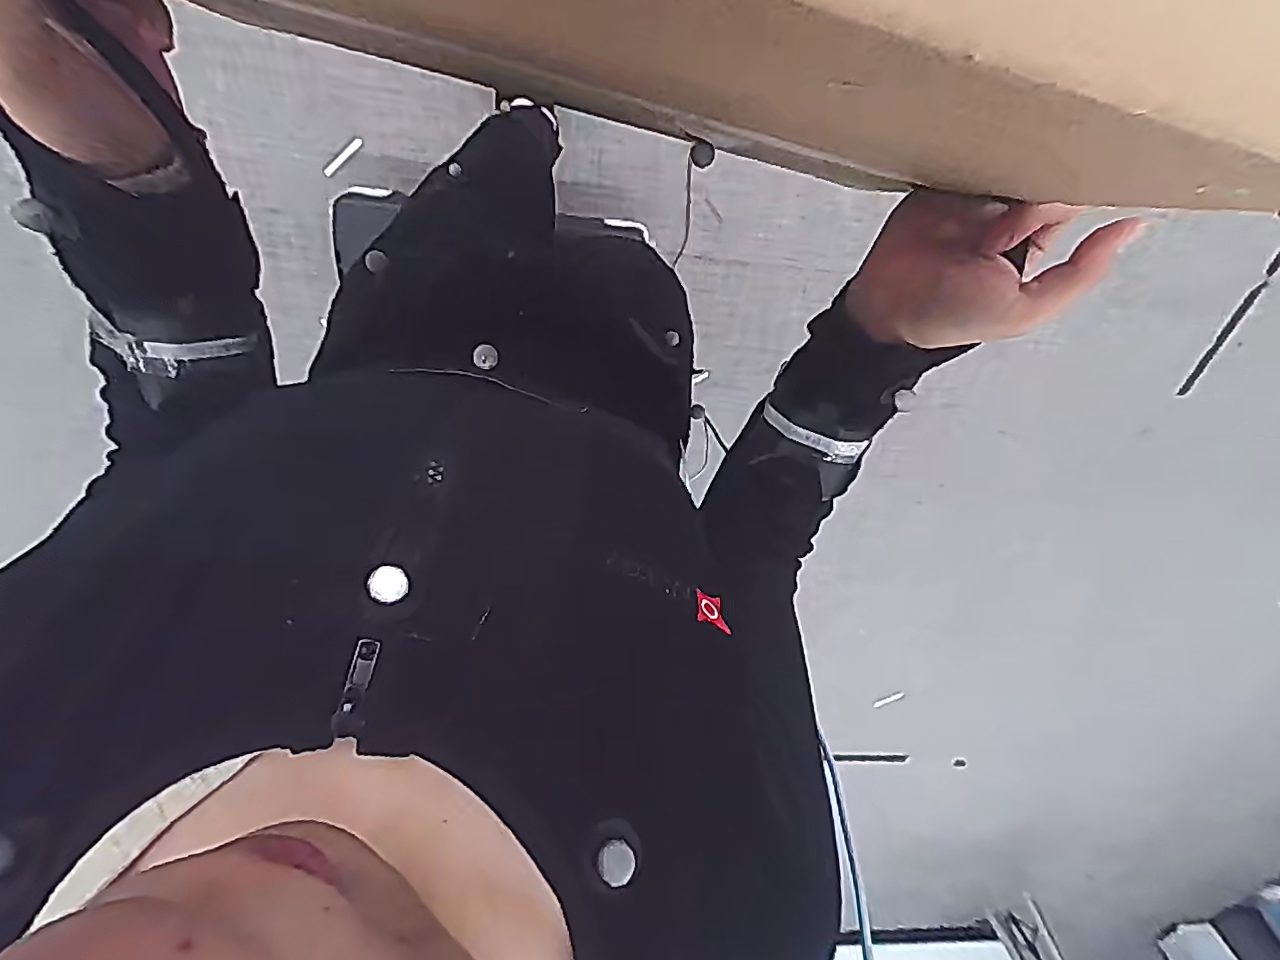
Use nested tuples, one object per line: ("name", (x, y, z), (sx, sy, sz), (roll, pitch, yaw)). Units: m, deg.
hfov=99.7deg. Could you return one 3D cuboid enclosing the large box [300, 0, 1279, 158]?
("large box", (0.009, -0.312, 0.143), (0.408, 0.320, 0.320), (8, 120, -10))
